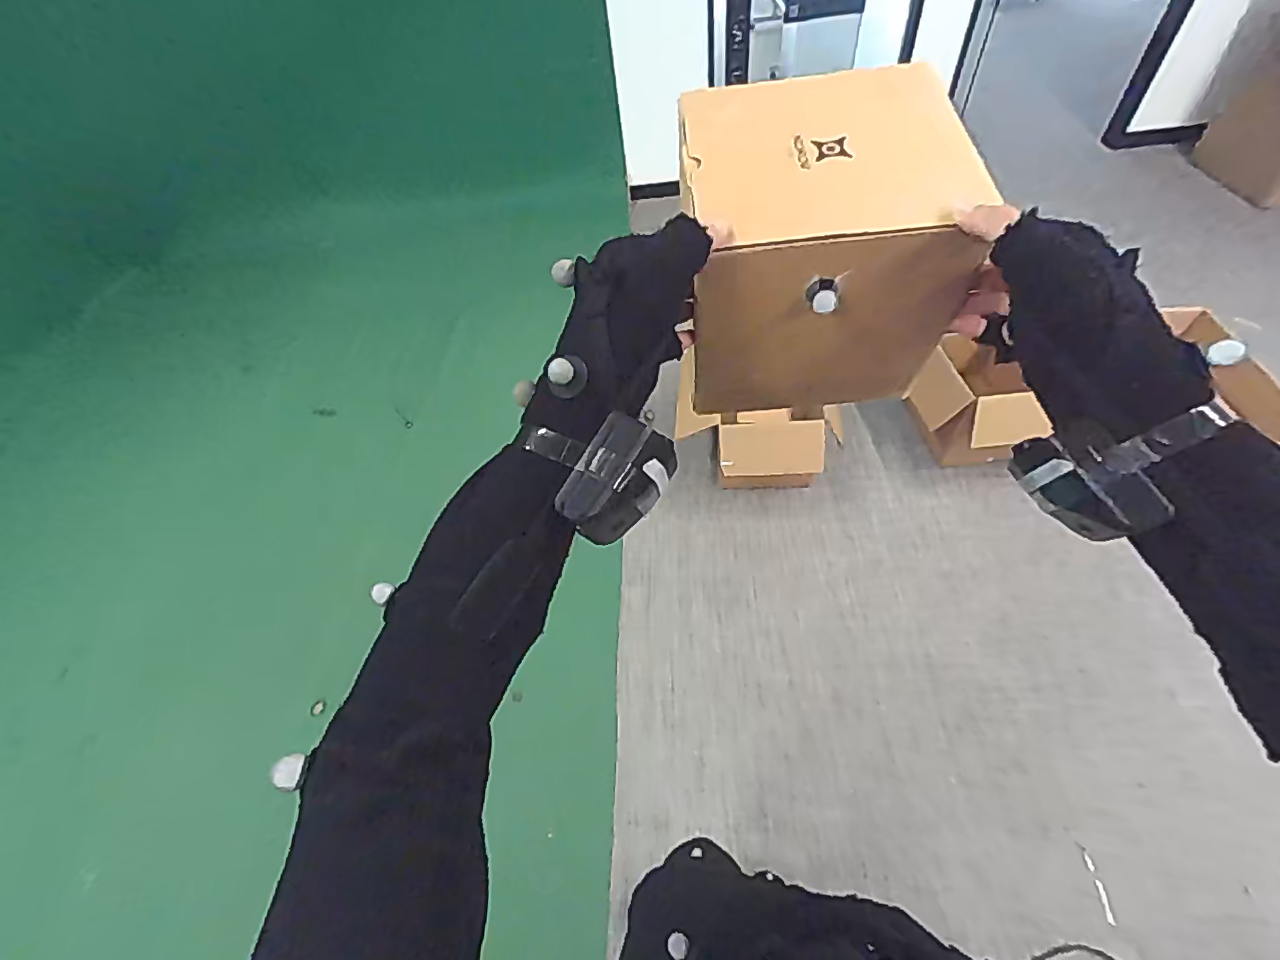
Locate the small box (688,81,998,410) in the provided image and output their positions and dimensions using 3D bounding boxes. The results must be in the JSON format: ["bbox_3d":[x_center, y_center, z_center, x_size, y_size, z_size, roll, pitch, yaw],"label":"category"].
[{"bbox_3d":[0.130,-0.171,0.427,0.179,0.176,0.168,-4,62,4],"label":"small box"}]
